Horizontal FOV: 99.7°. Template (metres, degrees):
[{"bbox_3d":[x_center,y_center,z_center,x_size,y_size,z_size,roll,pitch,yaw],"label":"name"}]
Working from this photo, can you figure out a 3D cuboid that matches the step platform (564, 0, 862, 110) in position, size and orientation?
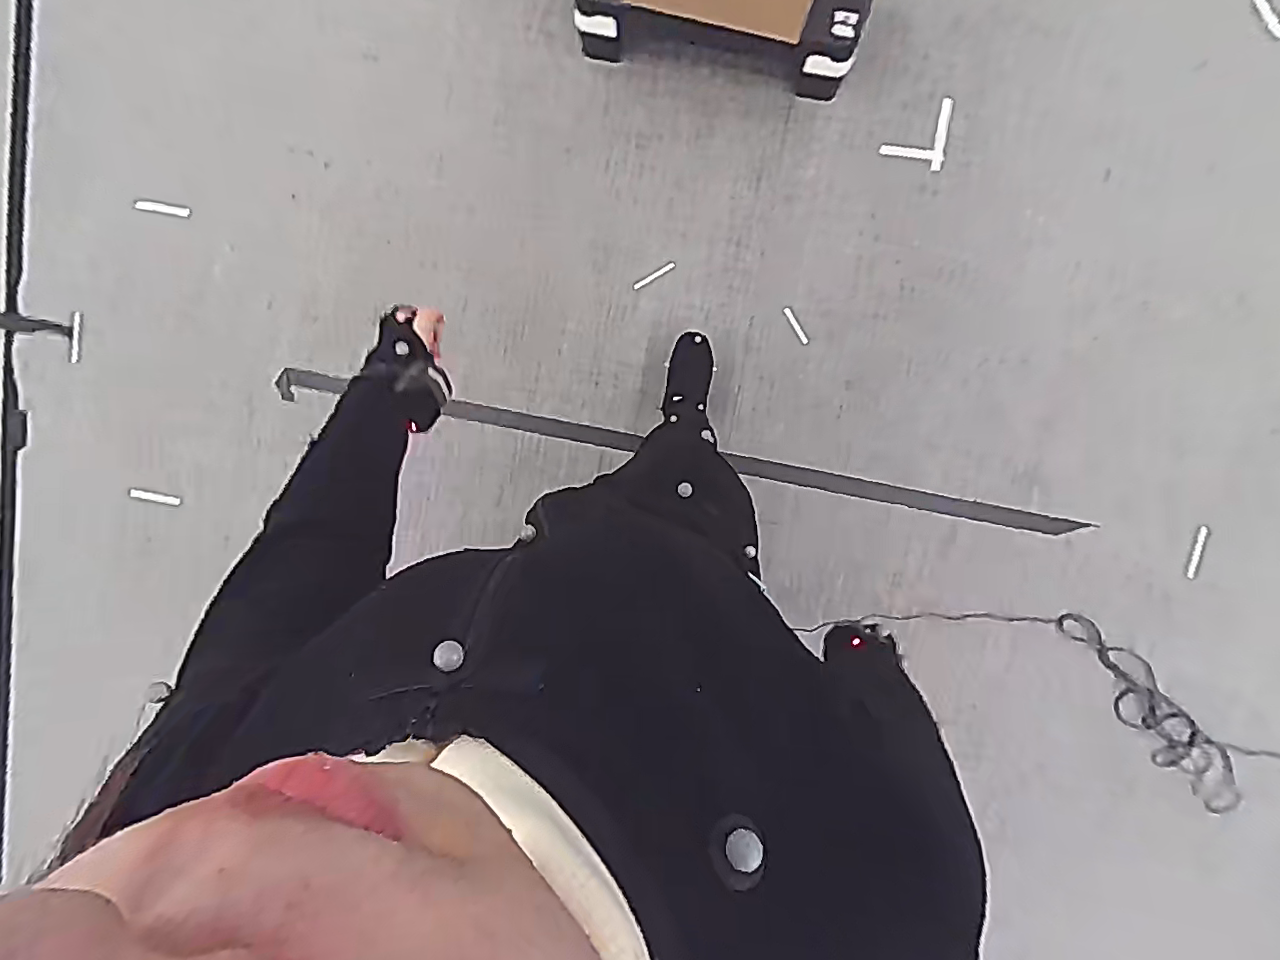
[{"bbox_3d":[0.168,-1.141,1.263,0.684,0.204,0.286,16,96,2],"label":"step platform"}]

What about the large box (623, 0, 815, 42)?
[{"bbox_3d":[0.178,-1.124,1.025,0.408,0.320,0.320,14,96,3],"label":"large box"}]
